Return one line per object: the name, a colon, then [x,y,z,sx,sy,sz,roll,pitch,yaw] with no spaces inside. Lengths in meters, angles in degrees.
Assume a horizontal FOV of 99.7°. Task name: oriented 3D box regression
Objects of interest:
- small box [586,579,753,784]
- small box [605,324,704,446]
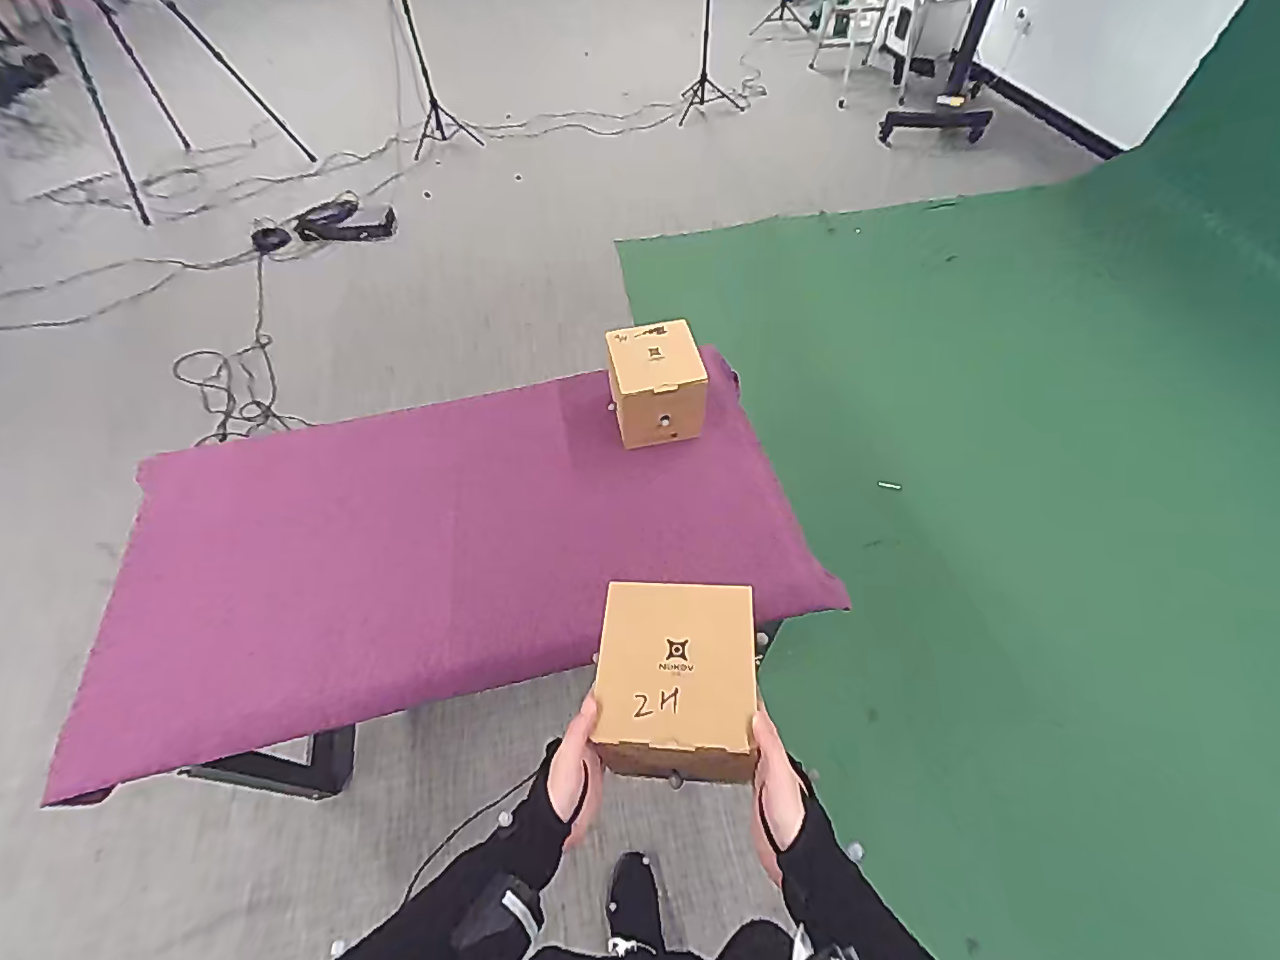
small box: [0.042,0.236,0.634,0.168,0.176,0.179,1,51,8]
small box: [0.027,-0.186,1.101,0.168,0.176,0.179,-10,57,-6]
